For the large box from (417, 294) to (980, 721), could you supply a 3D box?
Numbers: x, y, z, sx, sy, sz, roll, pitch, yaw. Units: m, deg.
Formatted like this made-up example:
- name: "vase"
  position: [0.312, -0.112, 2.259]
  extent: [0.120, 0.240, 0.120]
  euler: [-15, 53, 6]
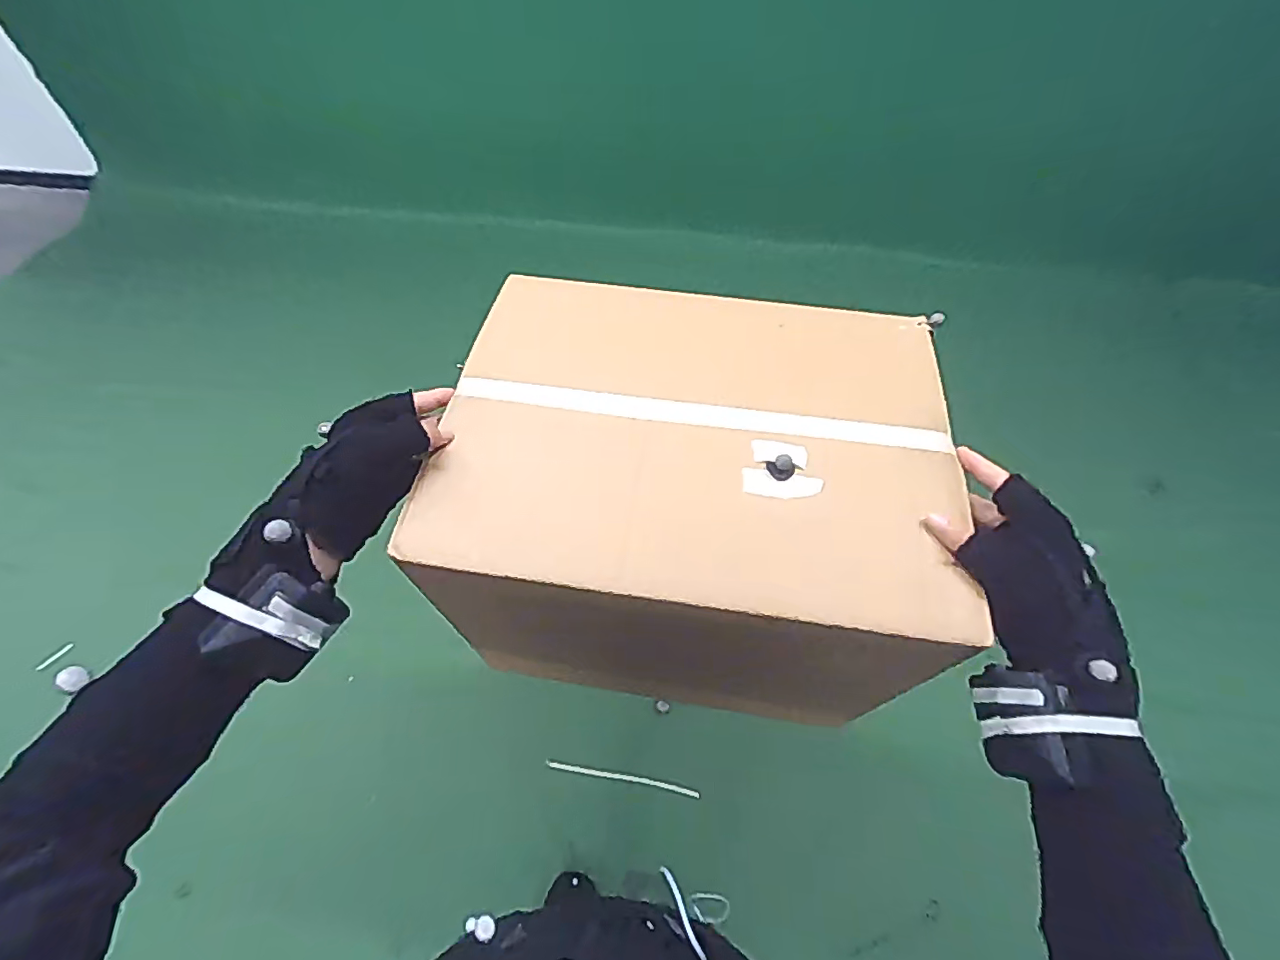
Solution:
- name: "large box"
  position: [0.050, 0.041, 0.579]
  extent: [0.408, 0.320, 0.320]
  euler: [8, 57, 4]
